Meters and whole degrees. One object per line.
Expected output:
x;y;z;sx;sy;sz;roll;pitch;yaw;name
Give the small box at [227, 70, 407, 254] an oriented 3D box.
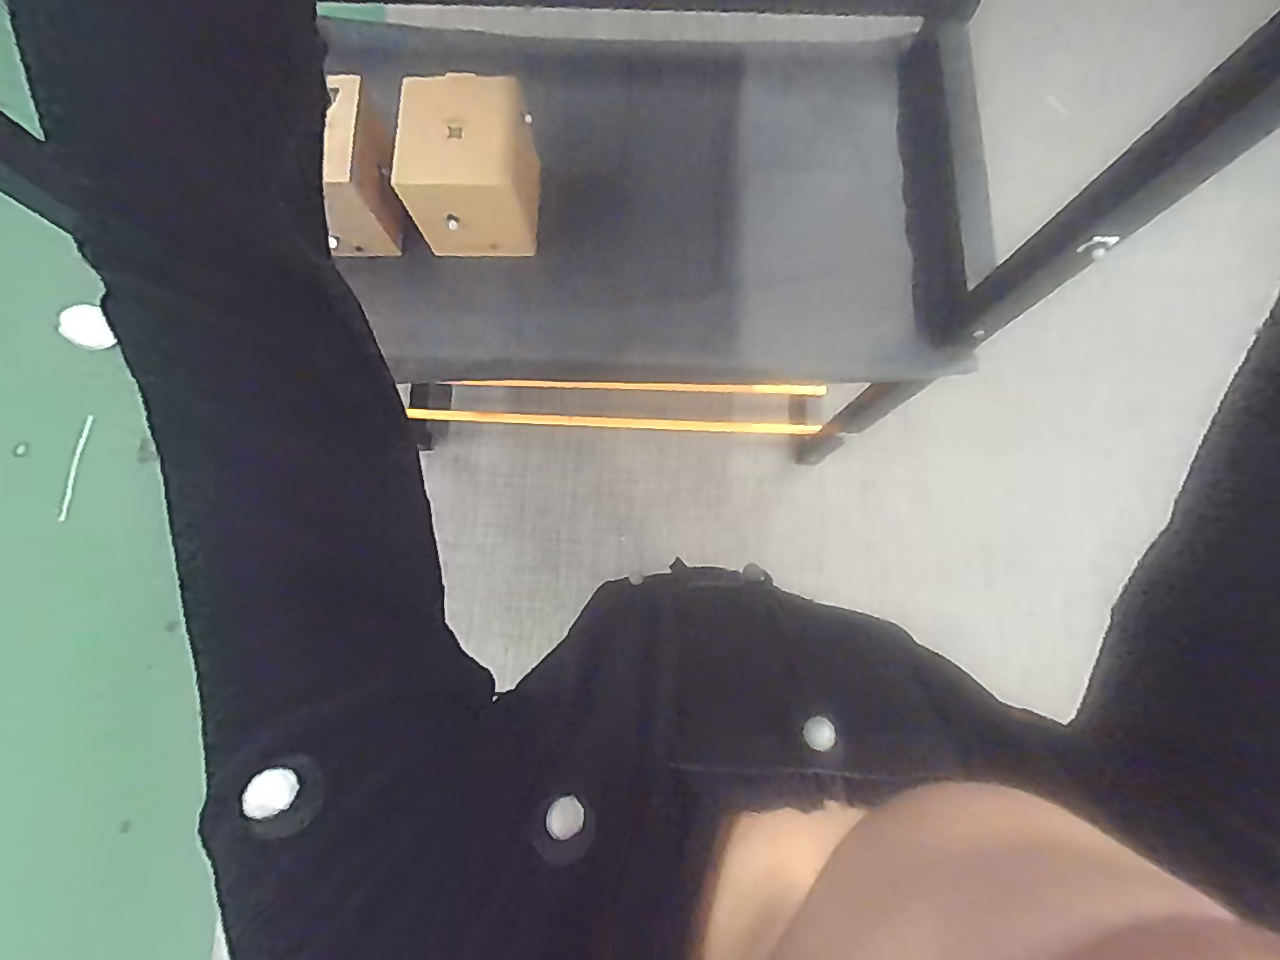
-0.470;-0.471;0.817;0.168;0.176;0.179;0;79;0;small box
